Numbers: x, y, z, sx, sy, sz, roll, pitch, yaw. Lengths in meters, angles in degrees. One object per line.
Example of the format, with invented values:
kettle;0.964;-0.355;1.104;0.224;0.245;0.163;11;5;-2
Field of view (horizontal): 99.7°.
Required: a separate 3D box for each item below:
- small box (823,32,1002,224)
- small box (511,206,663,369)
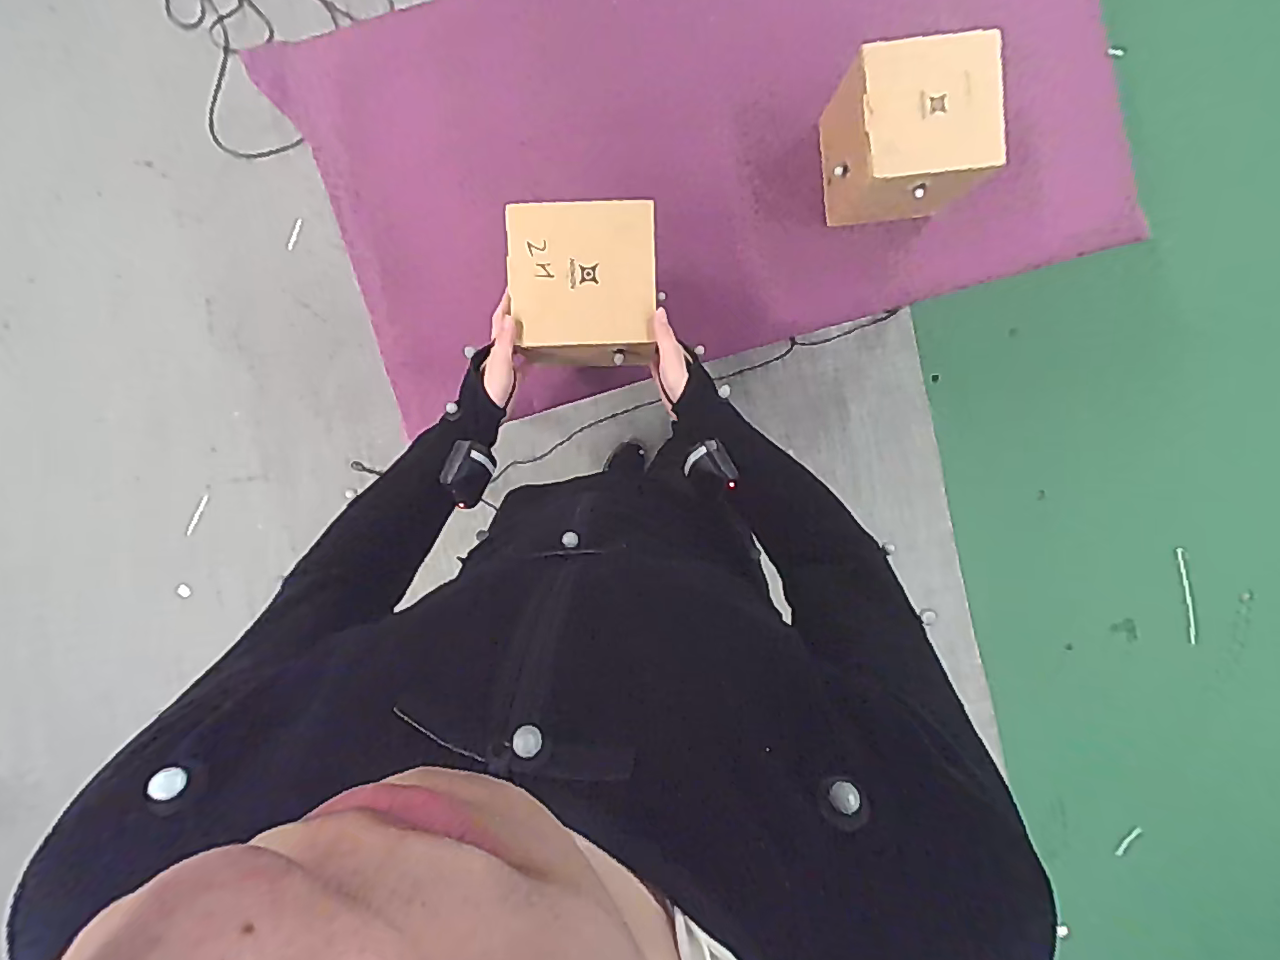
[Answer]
small box;0.369;-0.480;0.764;0.179;0.176;0.168;-6;96;0
small box;-0.062;-0.241;0.709;0.179;0.176;0.168;-1;94;1
